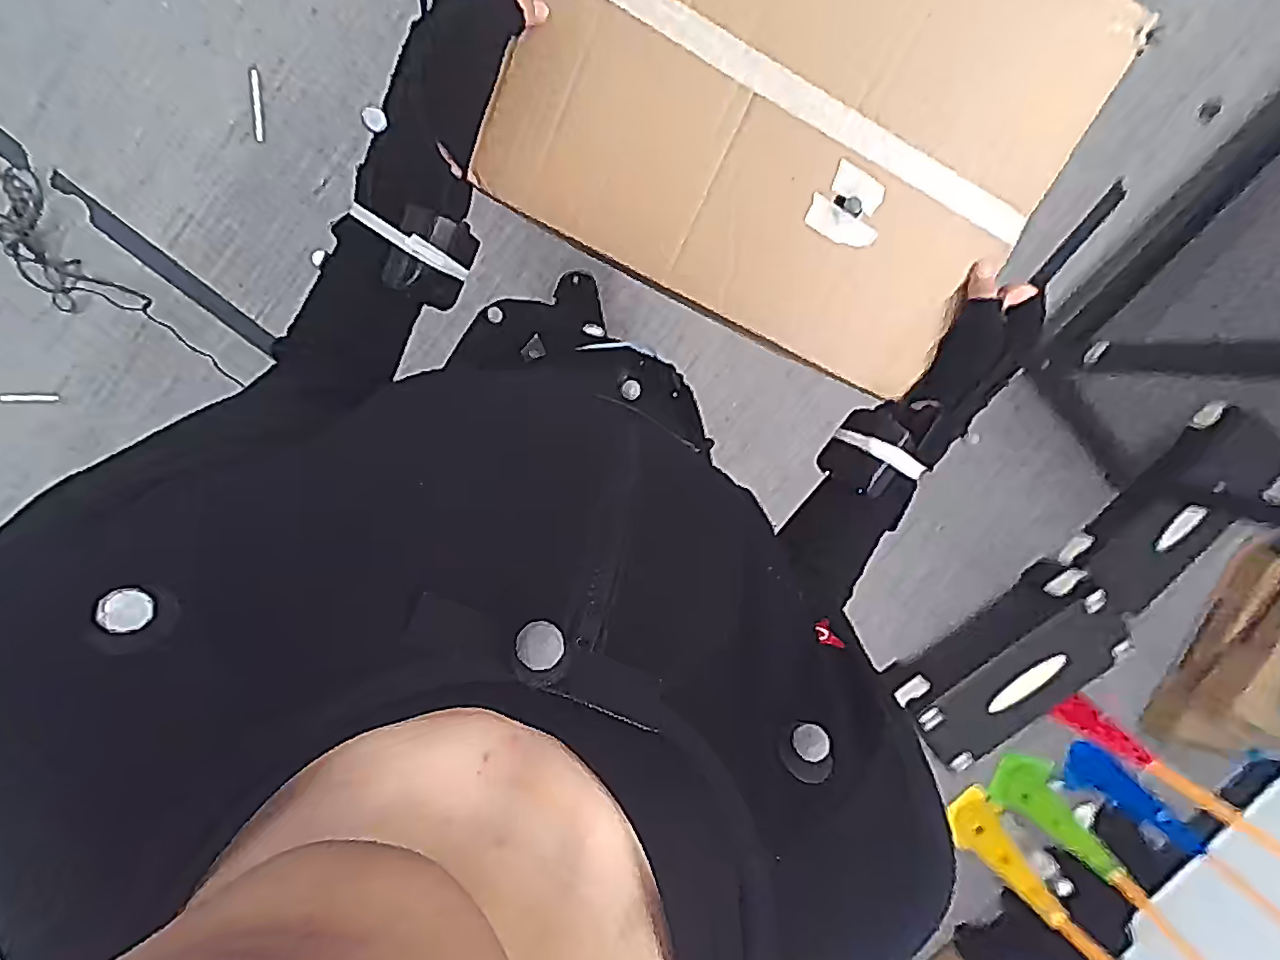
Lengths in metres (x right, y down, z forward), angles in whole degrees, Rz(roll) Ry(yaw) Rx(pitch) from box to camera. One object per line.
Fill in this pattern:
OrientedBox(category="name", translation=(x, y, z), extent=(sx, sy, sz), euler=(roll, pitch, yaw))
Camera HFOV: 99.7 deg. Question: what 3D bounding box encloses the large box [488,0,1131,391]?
OrientedBox(category="large box", translation=(0.113, -0.334, 0.543), extent=(0.408, 0.320, 0.320), euler=(24, 108, -12))
